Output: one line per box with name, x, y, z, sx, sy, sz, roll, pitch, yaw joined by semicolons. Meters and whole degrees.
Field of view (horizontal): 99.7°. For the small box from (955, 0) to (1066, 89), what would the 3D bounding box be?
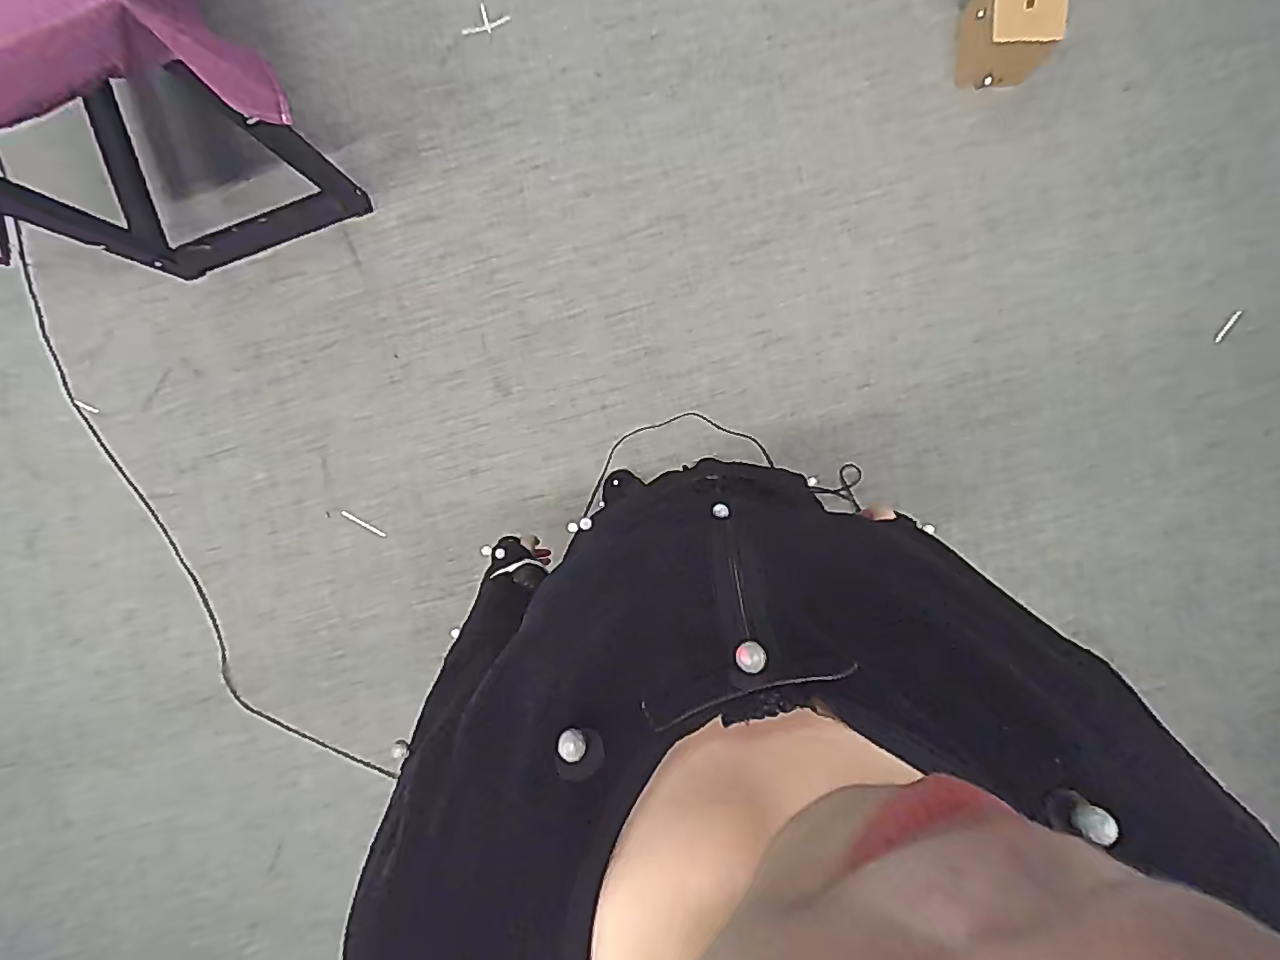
small box;0.906;-1.112;1.333;0.168;0.176;0.179;2;94;3
